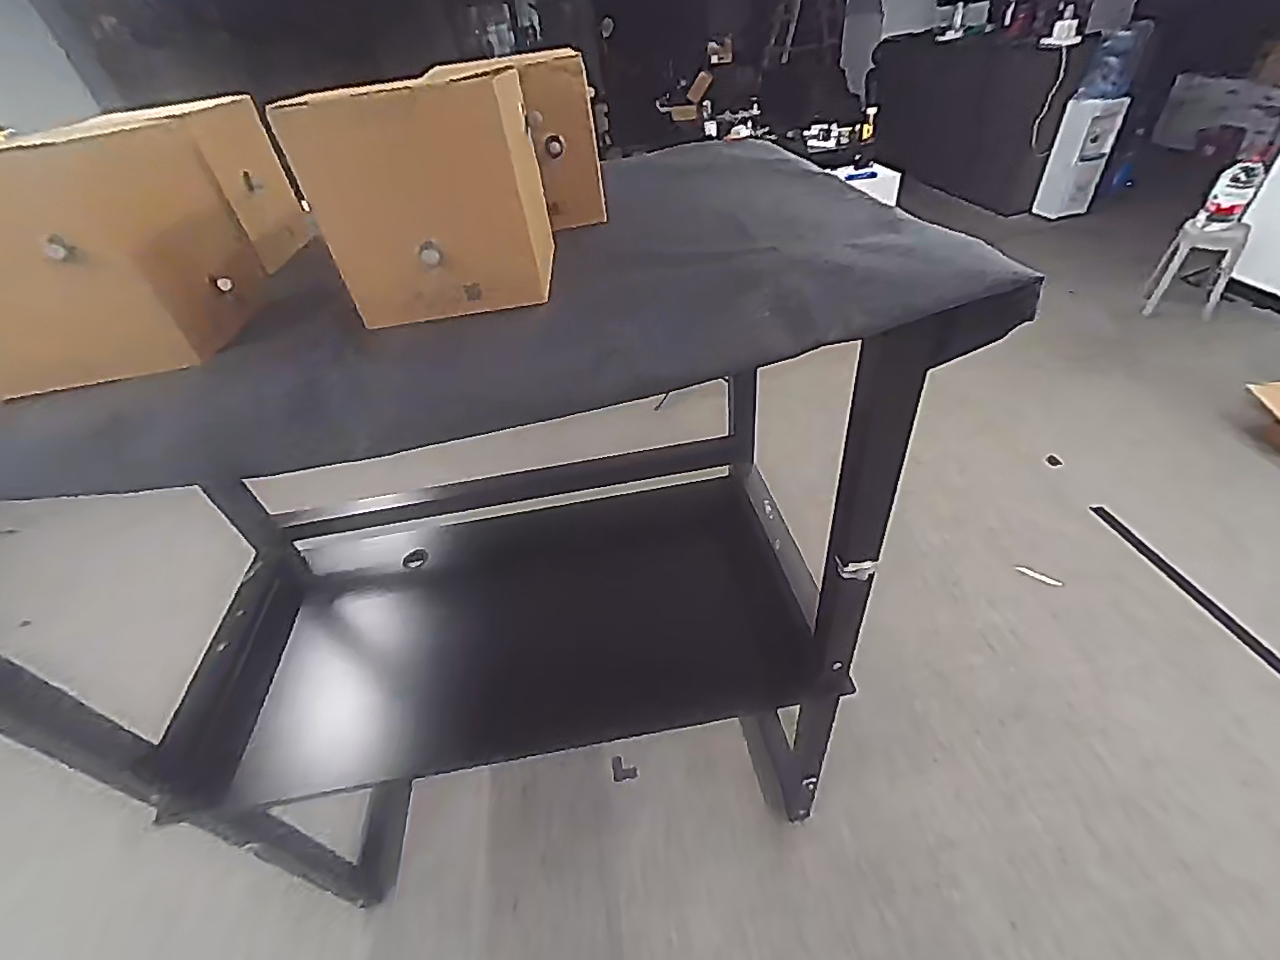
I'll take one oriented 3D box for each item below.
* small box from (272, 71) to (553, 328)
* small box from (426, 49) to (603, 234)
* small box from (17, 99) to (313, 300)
[{"bbox_3d":[-0.180,-0.258,0.497,0.168,0.176,0.179,-8,40,1],"label":"small box"},{"bbox_3d":[-0.144,-0.408,0.664,0.168,0.176,0.179,-10,41,-4],"label":"small box"},{"bbox_3d":[-0.539,-0.337,0.653,0.179,0.176,0.168,-10,41,-1],"label":"small box"}]
